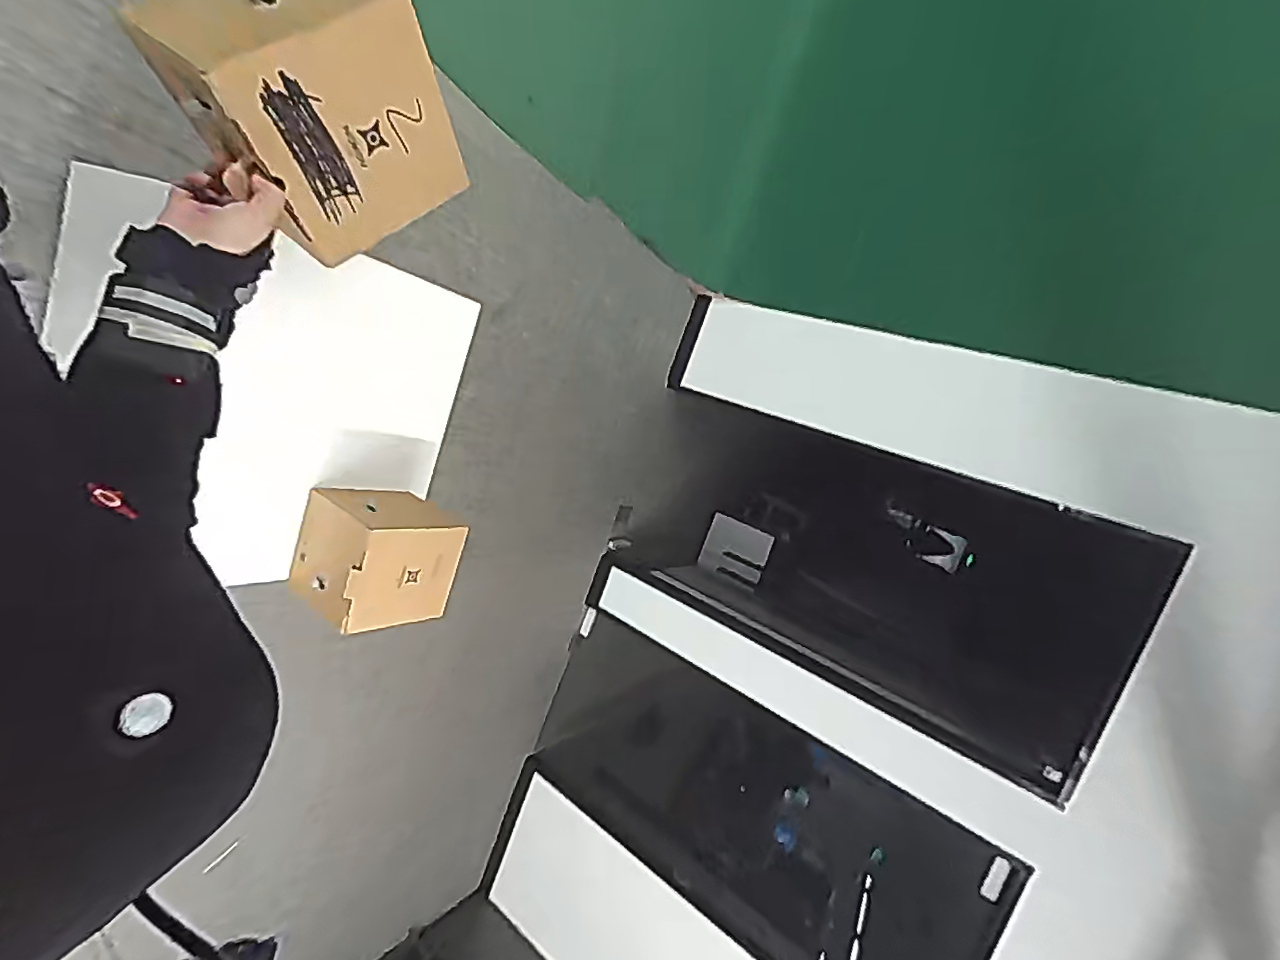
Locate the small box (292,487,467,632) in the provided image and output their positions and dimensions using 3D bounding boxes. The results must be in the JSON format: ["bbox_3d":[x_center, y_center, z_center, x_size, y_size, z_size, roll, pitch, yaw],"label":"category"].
[{"bbox_3d":[-0.418,0.117,0.866,0.179,0.176,0.168,4,108,-61],"label":"small box"}]
